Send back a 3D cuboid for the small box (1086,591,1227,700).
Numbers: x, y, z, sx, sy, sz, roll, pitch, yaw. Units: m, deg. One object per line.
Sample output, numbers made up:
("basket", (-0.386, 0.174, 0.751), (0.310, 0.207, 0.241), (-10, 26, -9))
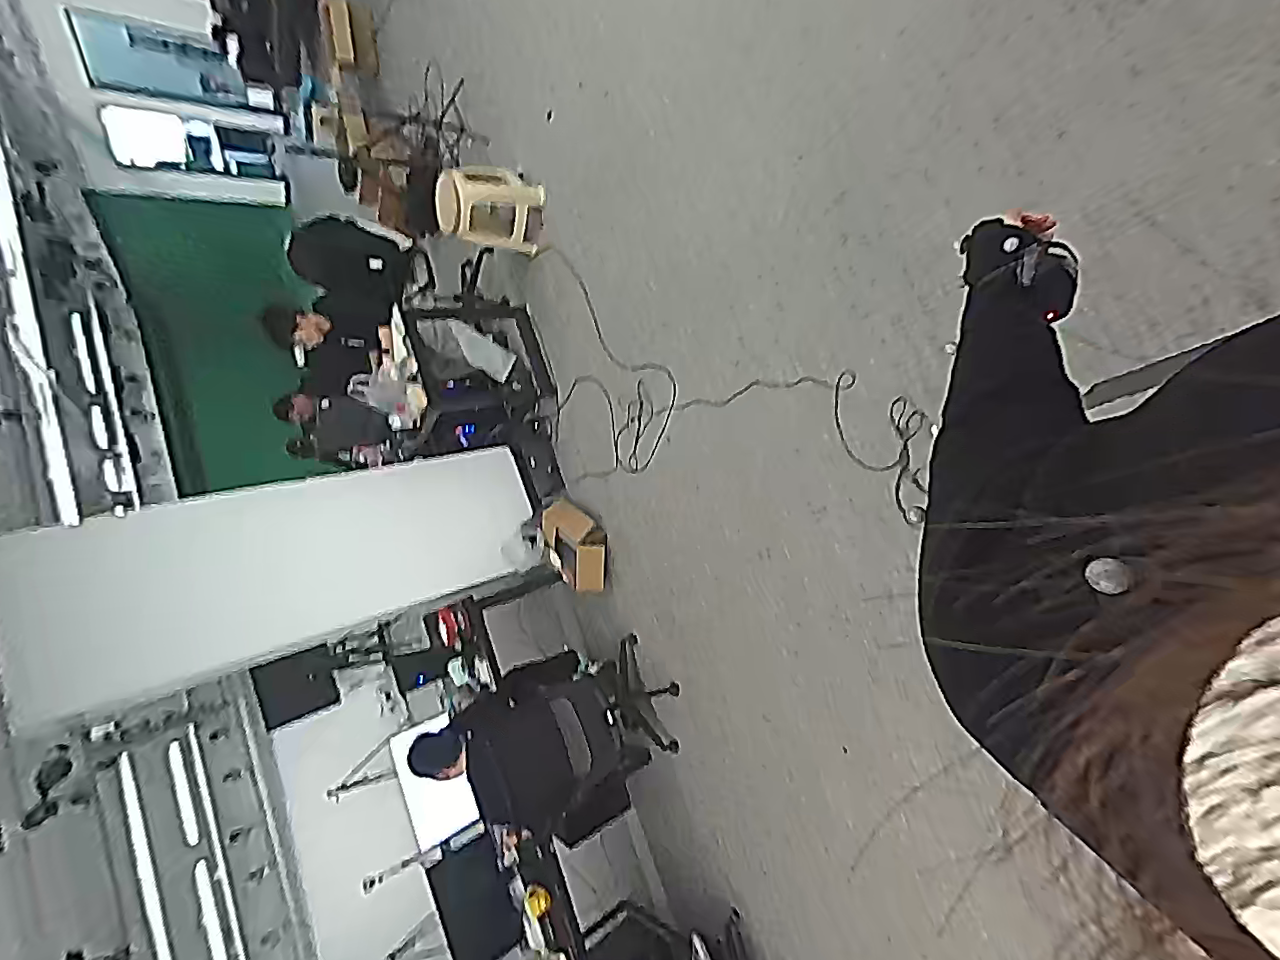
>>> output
("small box", (1.099, 0.341, 1.148), (0.179, 0.176, 0.168), (-19, 87, 55))
